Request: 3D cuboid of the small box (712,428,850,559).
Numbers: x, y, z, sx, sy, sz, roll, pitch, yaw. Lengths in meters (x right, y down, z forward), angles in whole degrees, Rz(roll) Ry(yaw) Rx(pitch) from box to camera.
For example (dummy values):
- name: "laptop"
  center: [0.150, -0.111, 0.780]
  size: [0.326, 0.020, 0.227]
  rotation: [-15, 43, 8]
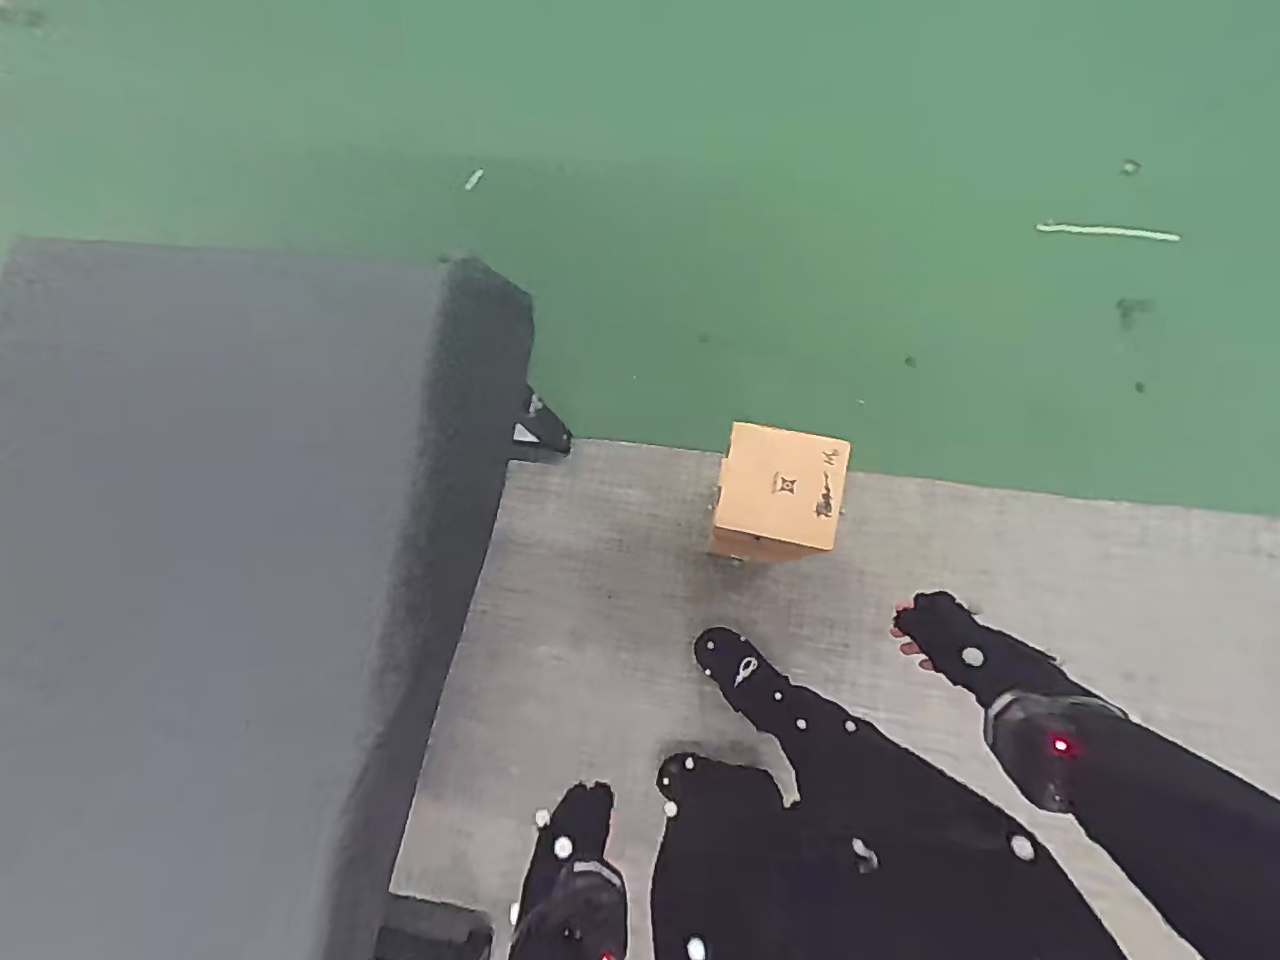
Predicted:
- name: "small box"
  center: [0.218, 0.030, 0.873]
  size: [0.179, 0.176, 0.168]
  rotation: [12, 81, 10]

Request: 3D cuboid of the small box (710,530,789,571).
- name: "small box"
  center: [0.248, 0.099, 1.192]
  size: [0.168, 0.176, 0.179]
  rotation: [9, 82, 9]

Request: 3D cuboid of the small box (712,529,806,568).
- name: "small box"
  center: [0.232, 0.064, 1.032]
  size: [0.168, 0.176, 0.179]
  rotation: [11, 81, 9]
